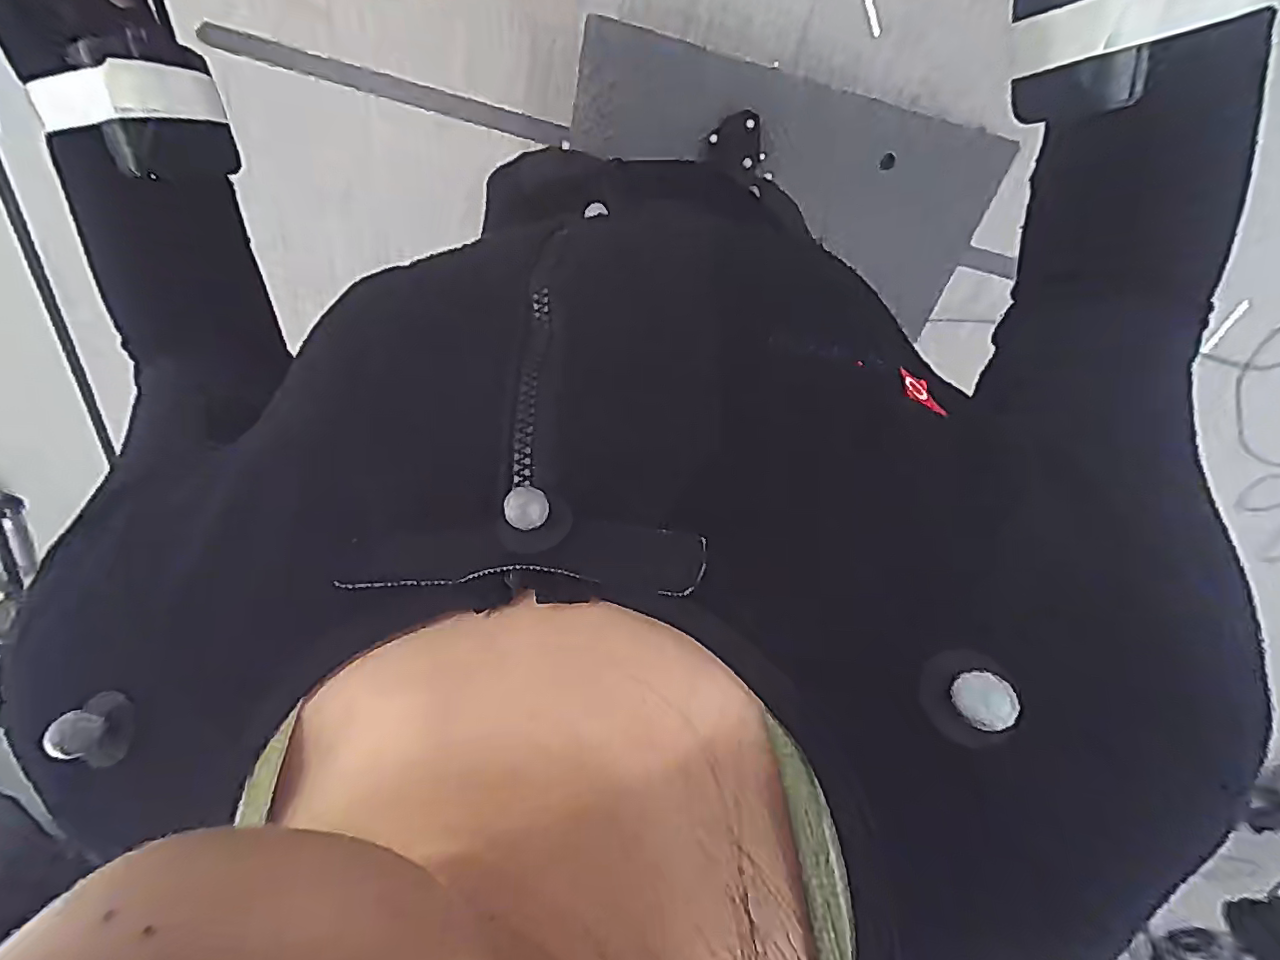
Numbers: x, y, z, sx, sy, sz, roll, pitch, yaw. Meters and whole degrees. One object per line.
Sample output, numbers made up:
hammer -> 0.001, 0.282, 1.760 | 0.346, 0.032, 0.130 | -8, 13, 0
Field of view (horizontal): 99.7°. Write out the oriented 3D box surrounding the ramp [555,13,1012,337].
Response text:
ramp -> 0.326, -0.658, 1.279 | 0.991, 0.206, 0.509 | 12, 123, -2
